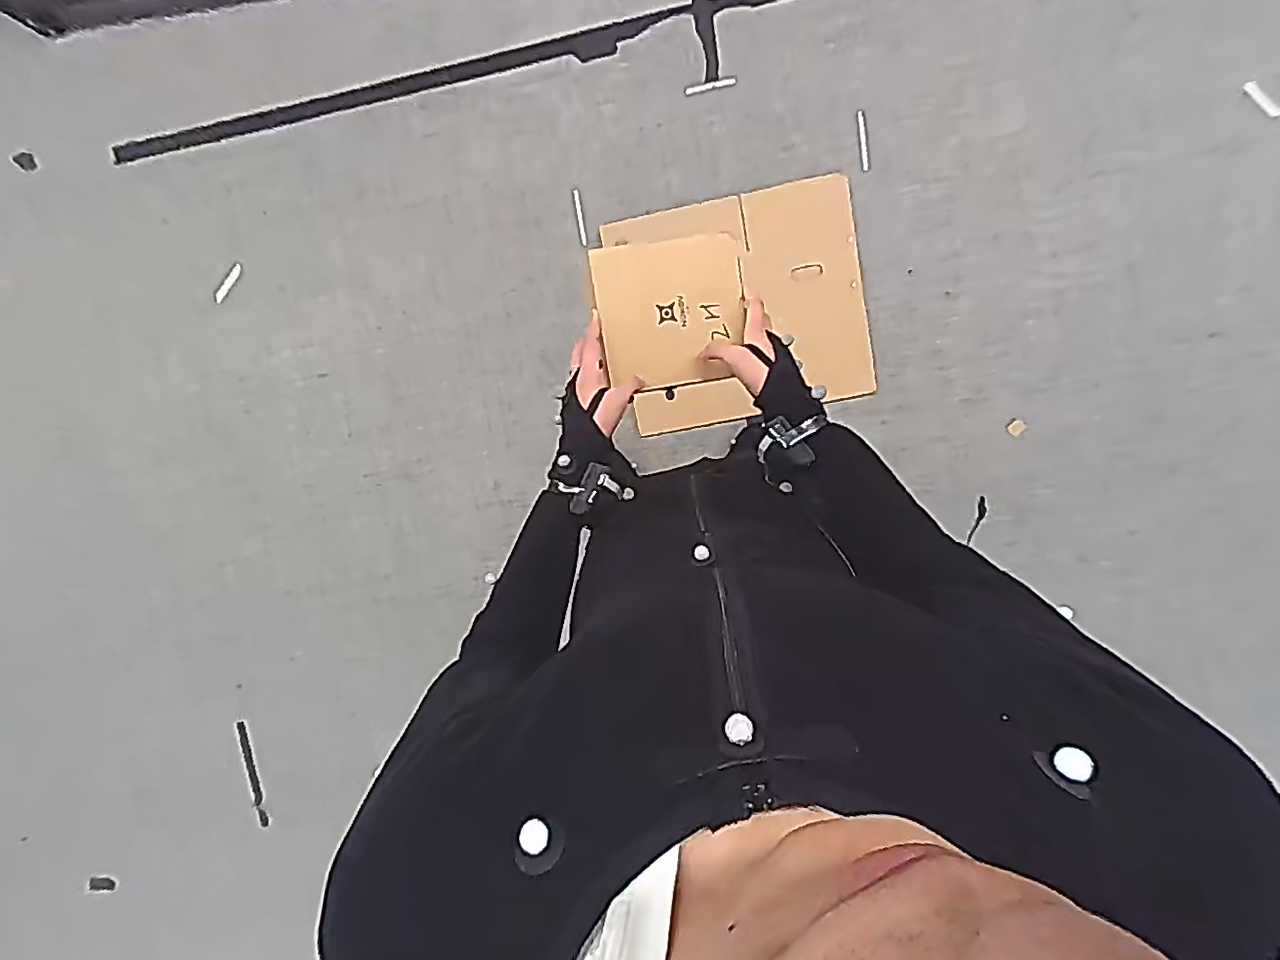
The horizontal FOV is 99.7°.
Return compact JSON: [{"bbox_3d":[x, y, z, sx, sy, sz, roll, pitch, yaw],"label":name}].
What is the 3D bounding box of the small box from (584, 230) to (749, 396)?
[{"bbox_3d":[0.024,-0.204,0.703,0.179,0.176,0.168,-10,99,-7],"label":"small box"}]
